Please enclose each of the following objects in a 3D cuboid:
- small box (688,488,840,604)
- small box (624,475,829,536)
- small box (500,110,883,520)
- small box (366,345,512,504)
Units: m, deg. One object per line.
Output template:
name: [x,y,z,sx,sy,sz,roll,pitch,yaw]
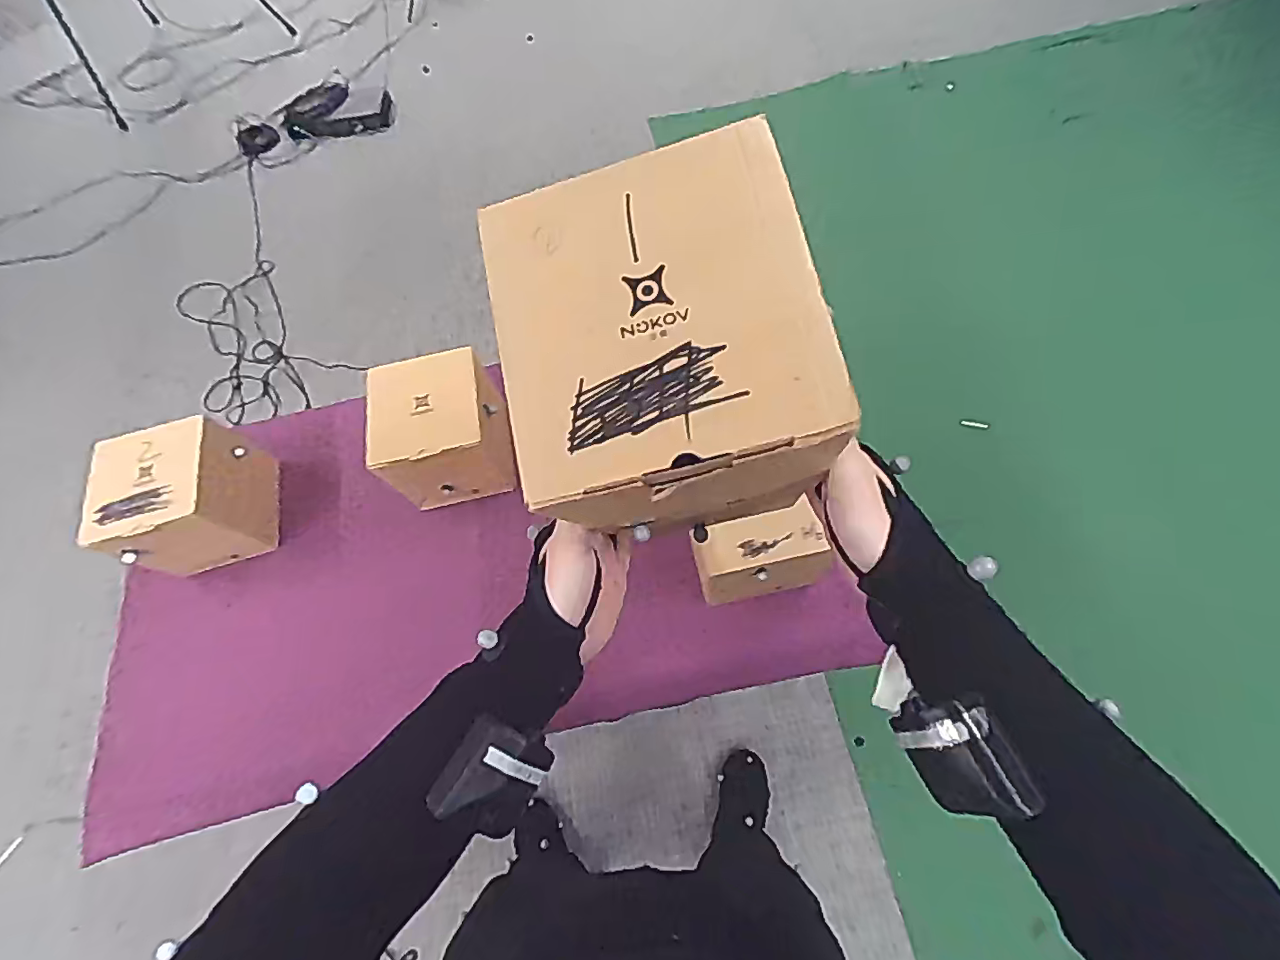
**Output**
small box: [0.152,0.056,0.752,0.168,0.176,0.179,-12,64,1]
small box: [0.060,-0.052,0.507,0.168,0.176,0.179,-13,79,8]
small box: [0.032,-0.075,0.347,0.168,0.176,0.179,-13,77,8]
small box: [-0.312,-0.082,0.860,0.168,0.176,0.179,-12,67,-1]
